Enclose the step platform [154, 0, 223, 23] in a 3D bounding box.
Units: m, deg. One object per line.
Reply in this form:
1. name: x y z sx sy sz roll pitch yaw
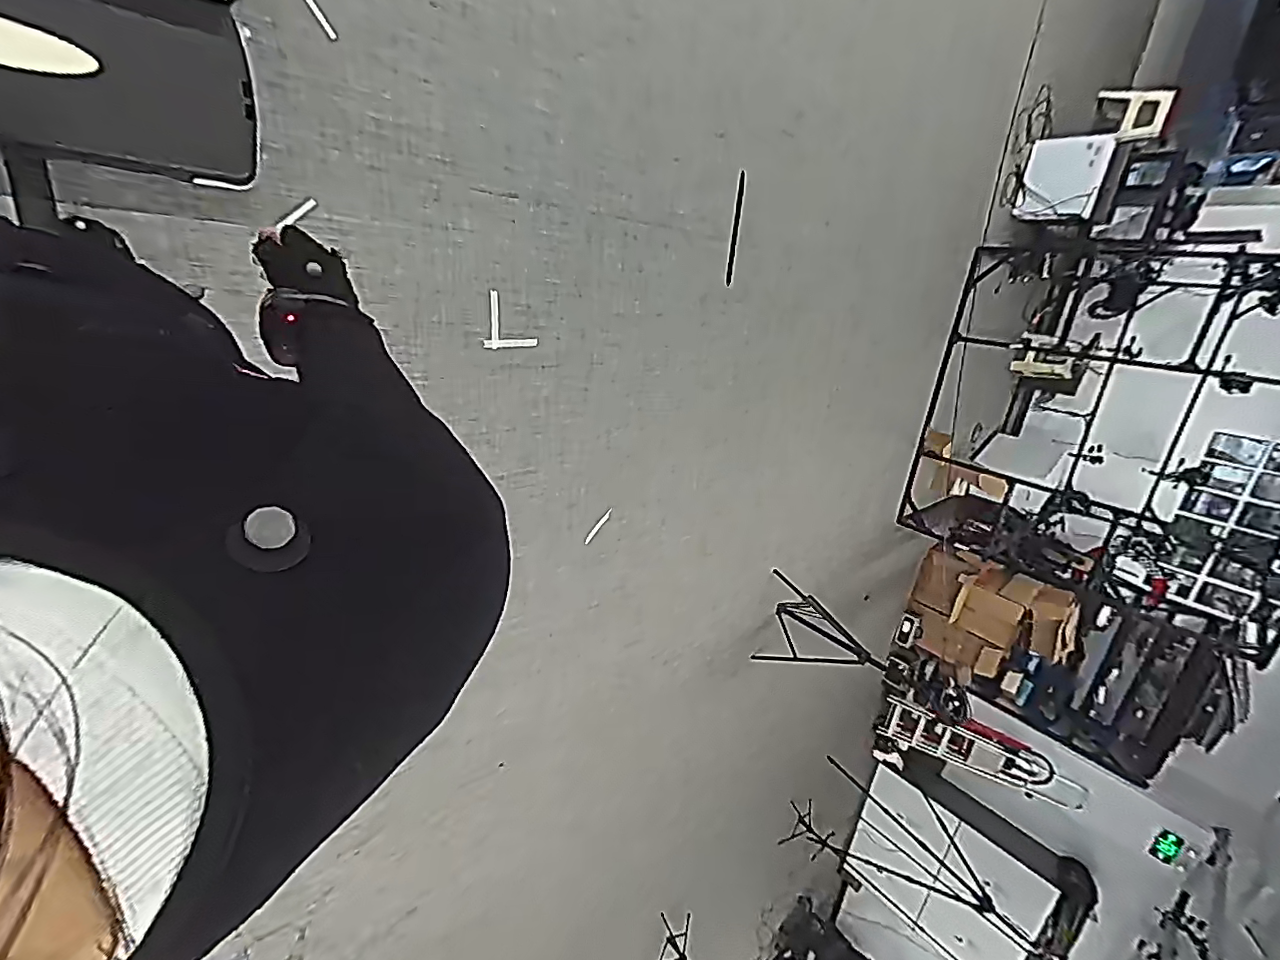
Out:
1. step platform: -0.952 -0.874 0.679 0.684 0.204 0.286 -14 118 -41
